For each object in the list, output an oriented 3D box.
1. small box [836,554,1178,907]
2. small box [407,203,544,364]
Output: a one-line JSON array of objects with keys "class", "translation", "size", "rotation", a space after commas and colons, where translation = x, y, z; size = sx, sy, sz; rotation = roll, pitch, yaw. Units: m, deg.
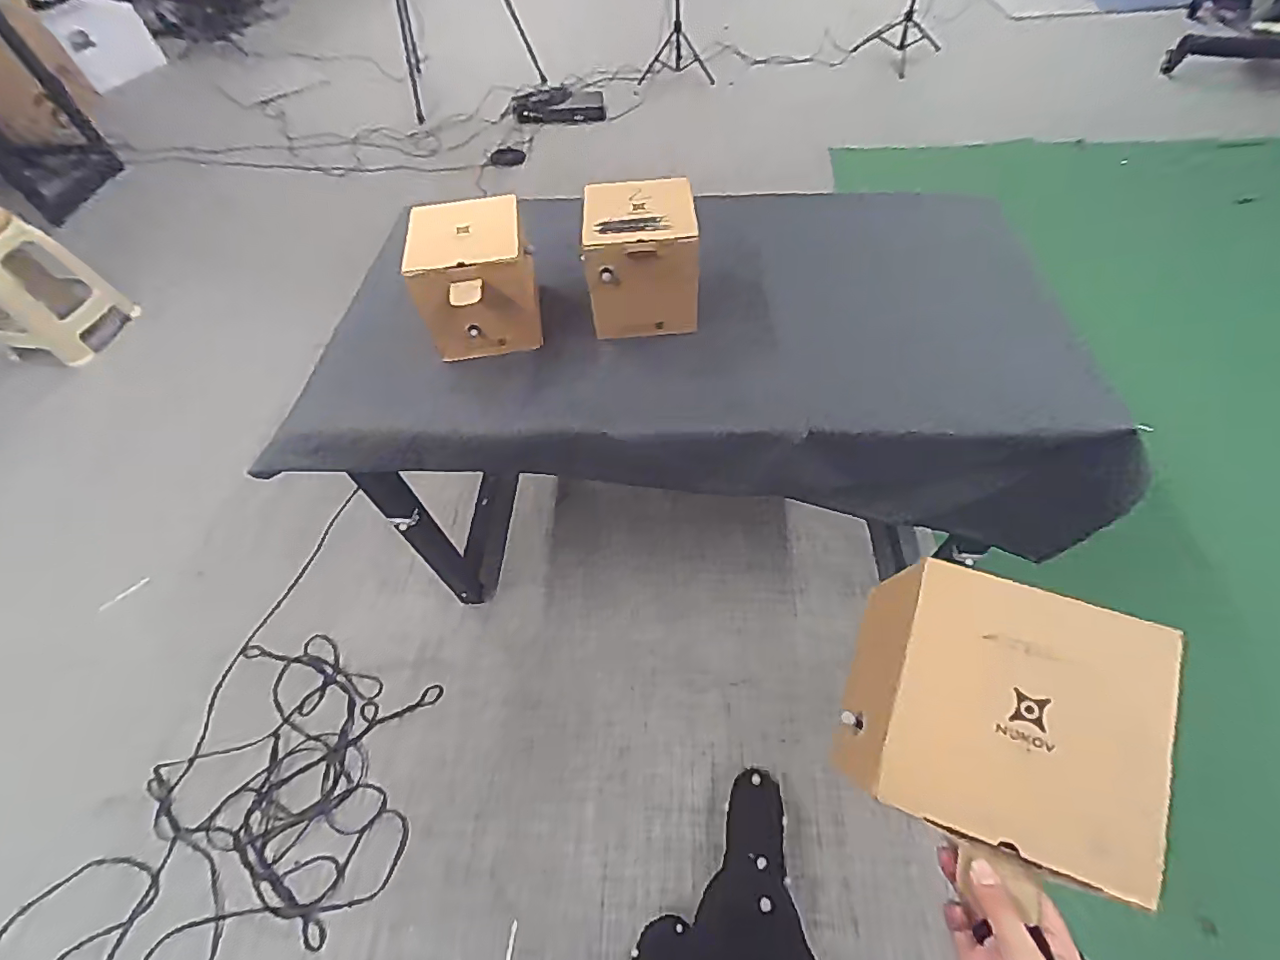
[{"class": "small box", "translation": [0.270, 0.182, 0.438], "size": [0.168, 0.176, 0.179], "rotation": [17, 73, 13]}, {"class": "small box", "translation": [-0.253, -0.312, 0.868], "size": [0.168, 0.176, 0.179], "rotation": [-9, 55, -3]}]
